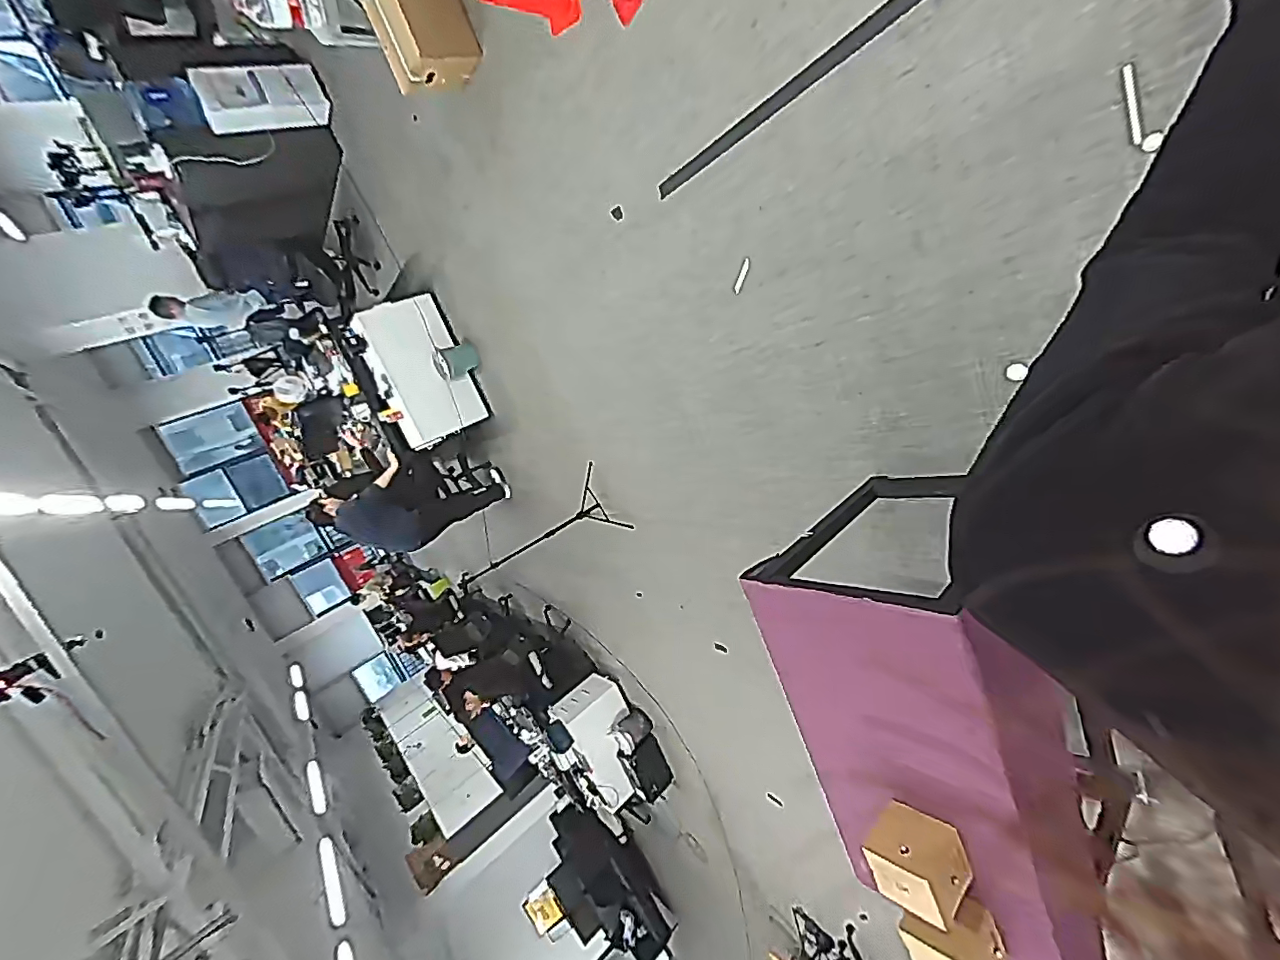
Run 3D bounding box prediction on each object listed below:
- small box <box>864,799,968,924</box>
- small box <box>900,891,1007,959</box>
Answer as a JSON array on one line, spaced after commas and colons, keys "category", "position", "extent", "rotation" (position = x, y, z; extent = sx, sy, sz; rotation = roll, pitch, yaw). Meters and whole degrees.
[{"category": "small box", "position": [0.725, 0.979, 1.407], "extent": [0.179, 0.176, 0.168], "rotation": [-6, 111, 56]}, {"category": "small box", "position": [0.843, 1.223, 1.452], "extent": [0.179, 0.176, 0.168], "rotation": [-9, 109, 56]}]
